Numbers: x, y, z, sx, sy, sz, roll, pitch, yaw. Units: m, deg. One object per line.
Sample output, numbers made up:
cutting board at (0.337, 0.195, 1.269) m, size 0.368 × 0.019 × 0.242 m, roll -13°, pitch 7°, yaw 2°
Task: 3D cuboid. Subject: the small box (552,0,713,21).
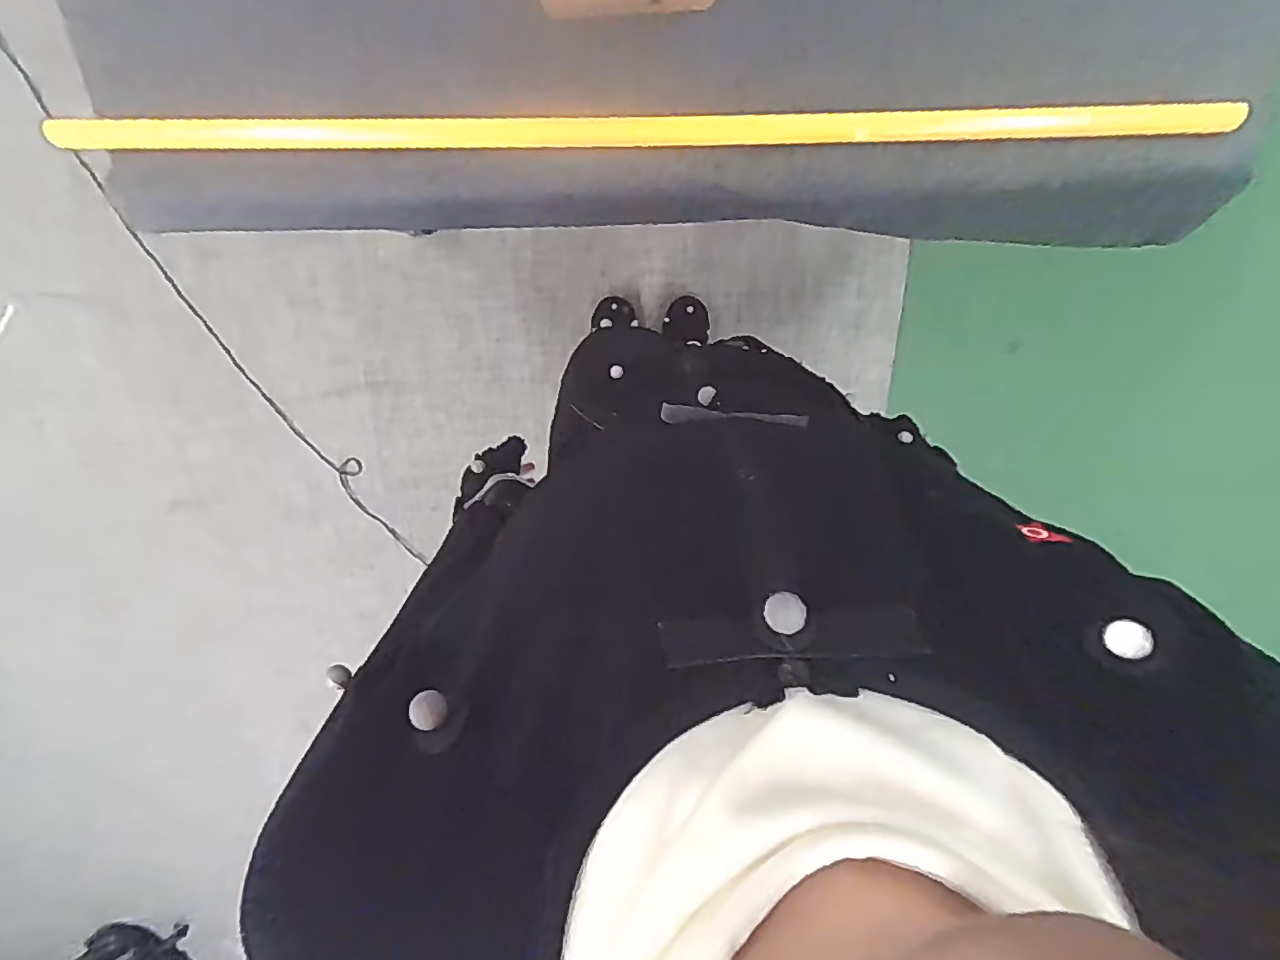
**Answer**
small box at (-0.013, -0.514, 0.430) m, size 0.168 × 0.176 × 0.179 m, roll -3°, pitch 109°, yaw 3°
